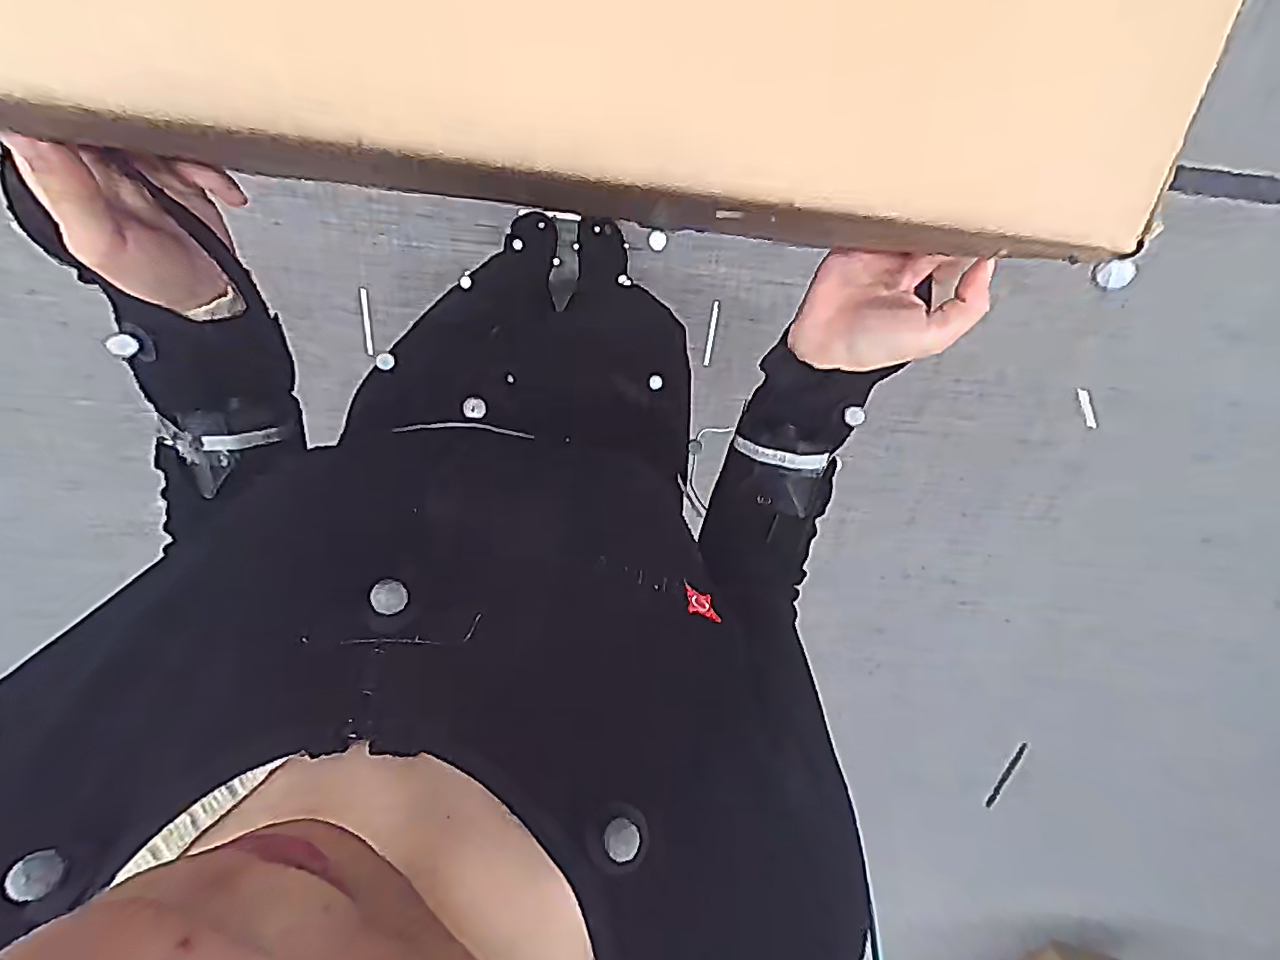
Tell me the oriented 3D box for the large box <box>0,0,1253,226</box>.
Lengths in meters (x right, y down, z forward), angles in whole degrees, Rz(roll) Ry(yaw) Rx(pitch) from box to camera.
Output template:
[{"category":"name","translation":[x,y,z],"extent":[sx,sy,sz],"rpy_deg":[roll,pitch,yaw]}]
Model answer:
[{"category":"large box","translation":[-0.031,-0.298,0.216],"extent":[0.408,0.320,0.320],"rpy_deg":[3,116,-8]}]
